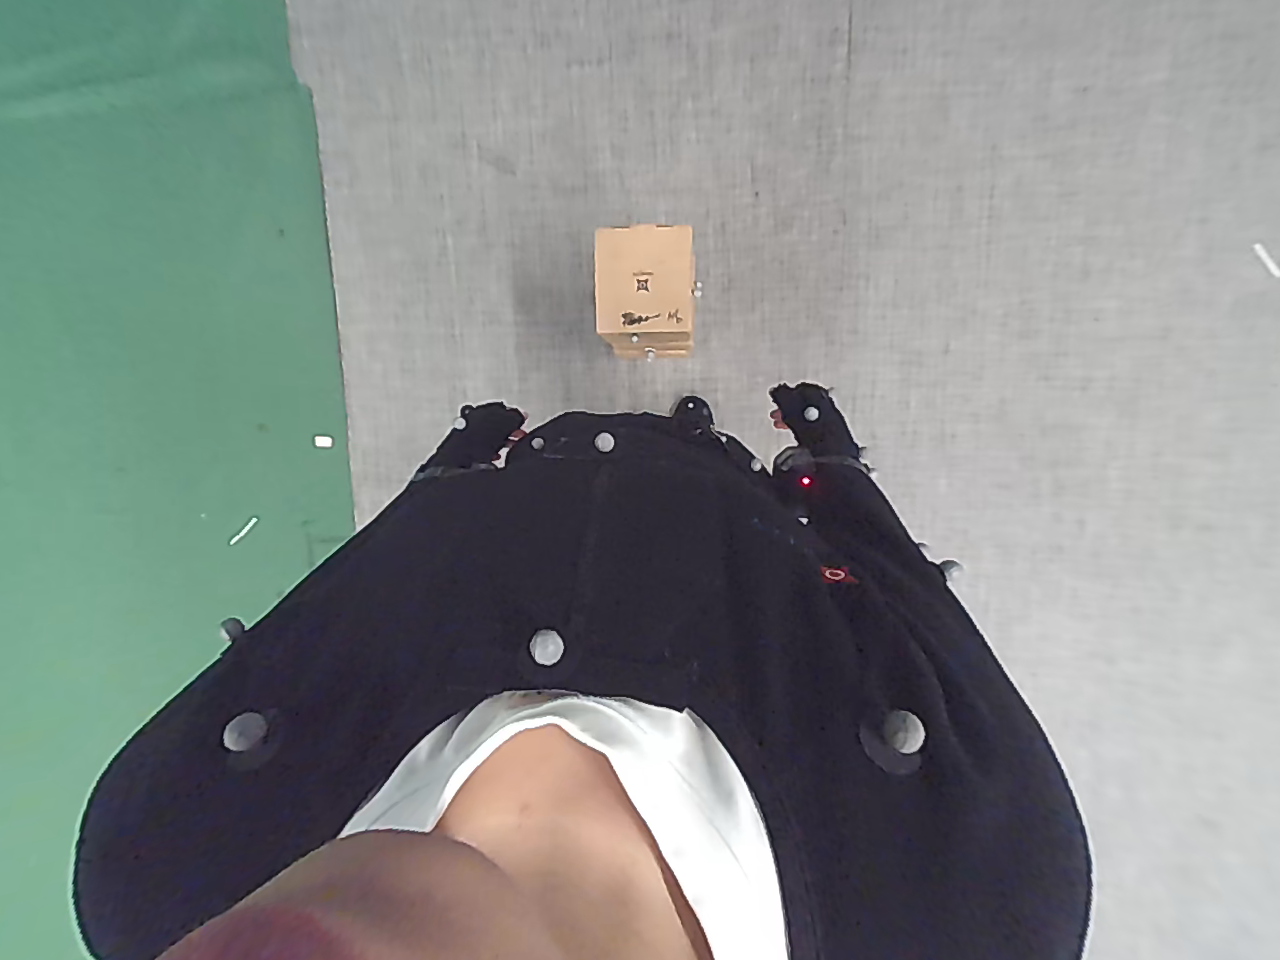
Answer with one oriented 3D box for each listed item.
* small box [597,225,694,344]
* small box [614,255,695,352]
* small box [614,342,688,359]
[{"bbox_3d":[0.015,-0.353,1.001,0.168,0.176,0.179,1,97,6],"label":"small box"},{"bbox_3d":[0.035,-0.373,1.163,0.168,0.176,0.179,1,99,6],"label":"small box"},{"bbox_3d":[0.033,-0.388,1.324,0.179,0.176,0.168,1,98,5],"label":"small box"}]
